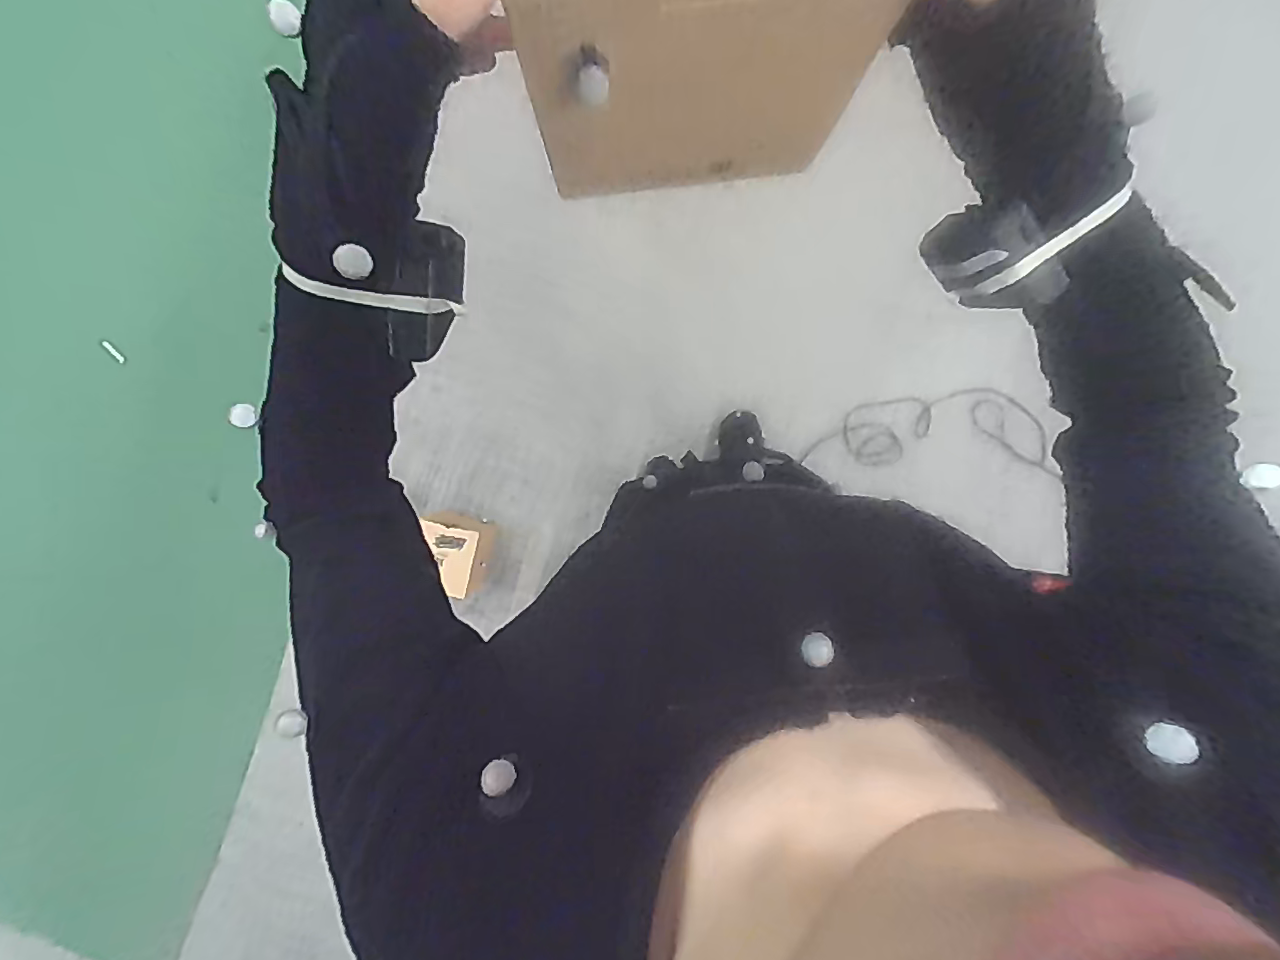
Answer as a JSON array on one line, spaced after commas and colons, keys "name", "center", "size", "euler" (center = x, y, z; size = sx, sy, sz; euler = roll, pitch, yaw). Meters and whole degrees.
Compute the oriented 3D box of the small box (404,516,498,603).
[{"name": "small box", "center": [-0.486, 0.199, 1.414], "size": [0.168, 0.176, 0.179], "euler": [14, 93, 2]}]
